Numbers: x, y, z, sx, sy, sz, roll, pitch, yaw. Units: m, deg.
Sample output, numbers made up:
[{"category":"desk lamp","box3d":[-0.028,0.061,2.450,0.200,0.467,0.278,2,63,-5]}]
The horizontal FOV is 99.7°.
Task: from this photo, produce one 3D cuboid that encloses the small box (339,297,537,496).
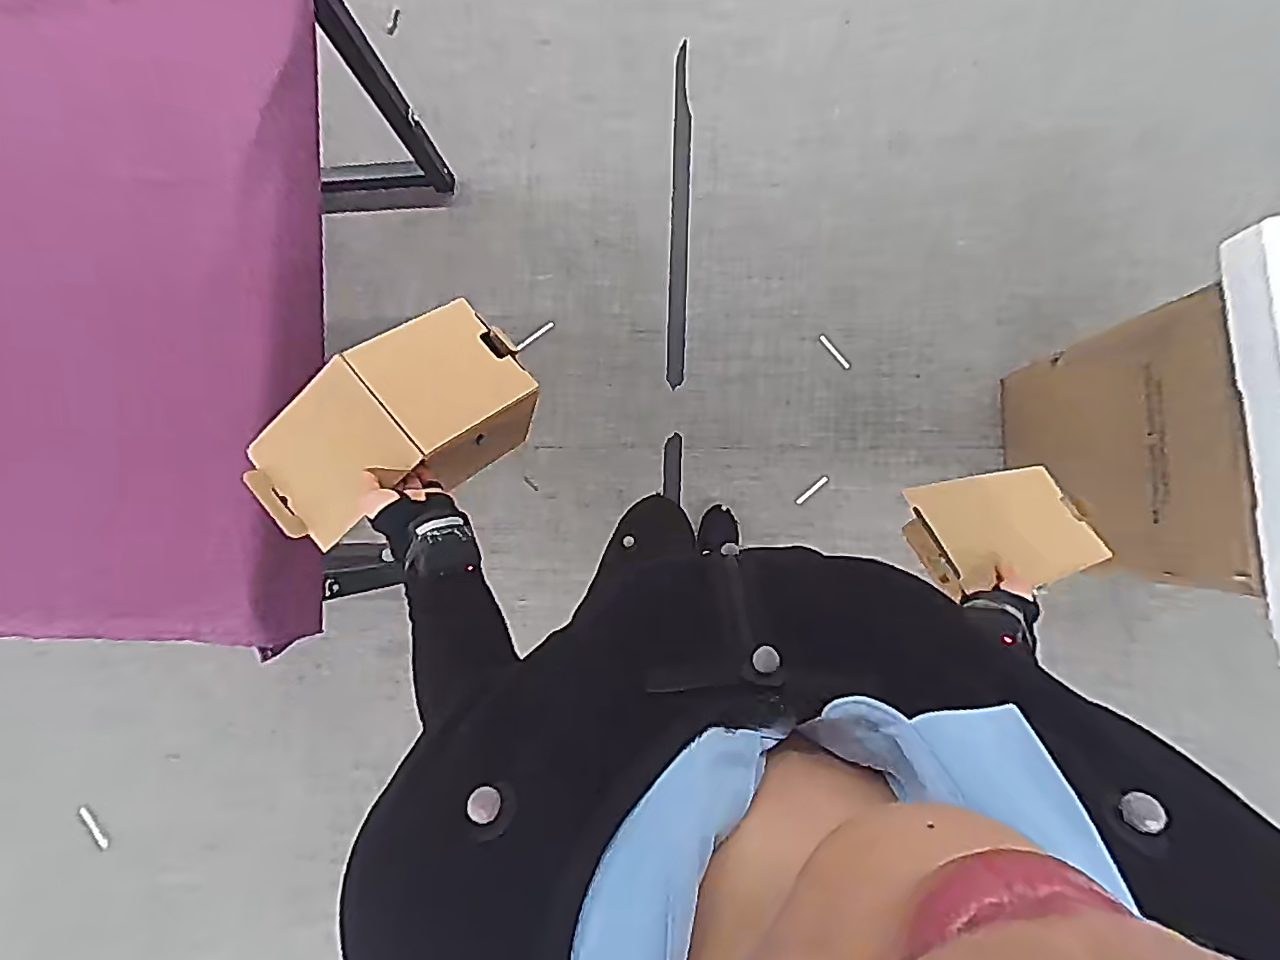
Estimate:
[{"category":"small box","box3d":[-0.264,-0.105,0.731,0.179,0.176,0.168,-38,84,-28]}]
